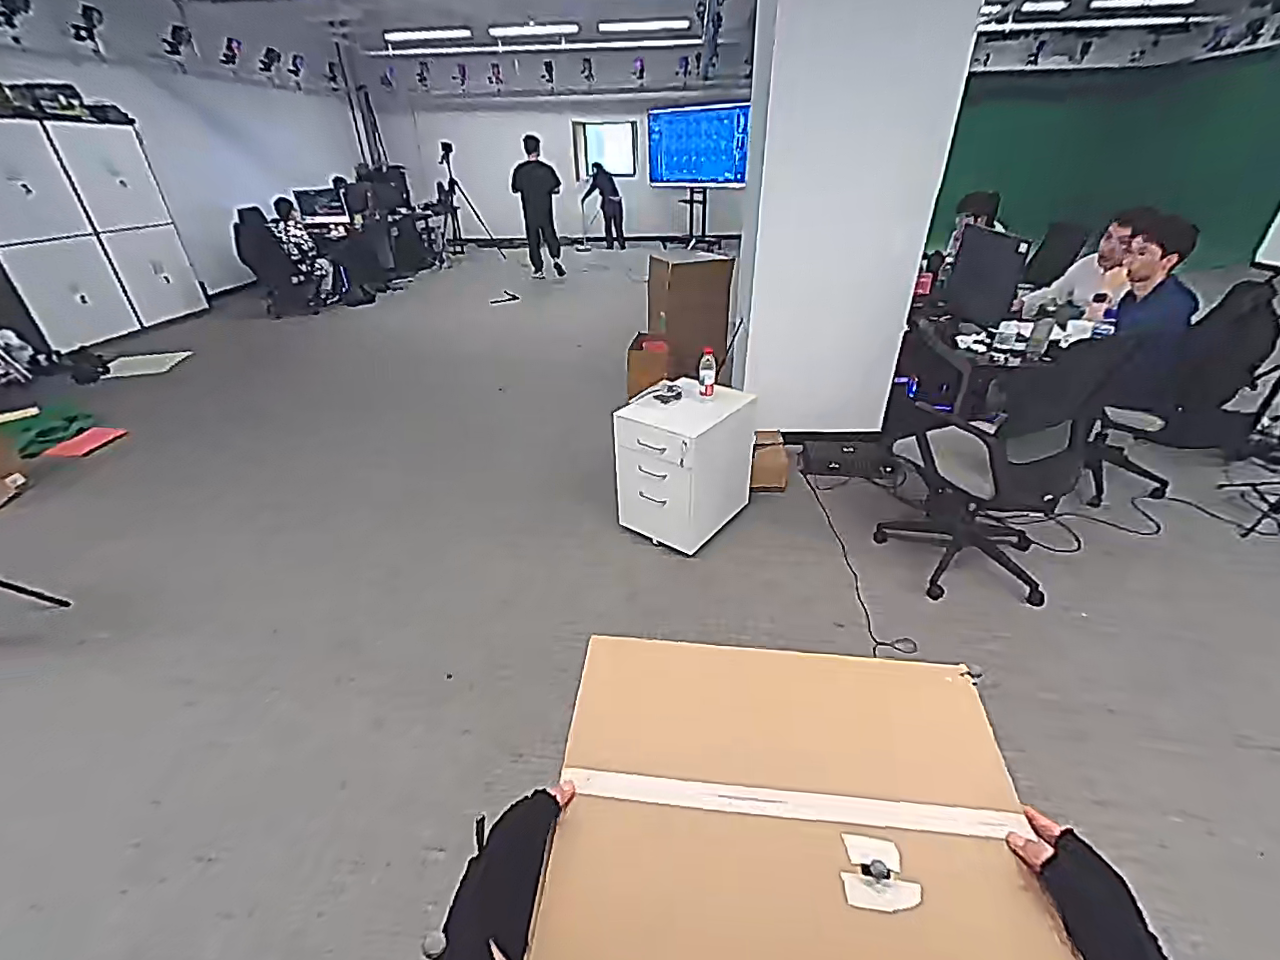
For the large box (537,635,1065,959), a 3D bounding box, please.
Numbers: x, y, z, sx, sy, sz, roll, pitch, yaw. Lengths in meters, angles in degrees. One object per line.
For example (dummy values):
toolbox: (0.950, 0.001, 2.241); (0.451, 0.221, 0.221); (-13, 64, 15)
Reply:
large box: (0.133, 0.401, 0.588); (0.408, 0.320, 0.320); (4, 41, 6)
